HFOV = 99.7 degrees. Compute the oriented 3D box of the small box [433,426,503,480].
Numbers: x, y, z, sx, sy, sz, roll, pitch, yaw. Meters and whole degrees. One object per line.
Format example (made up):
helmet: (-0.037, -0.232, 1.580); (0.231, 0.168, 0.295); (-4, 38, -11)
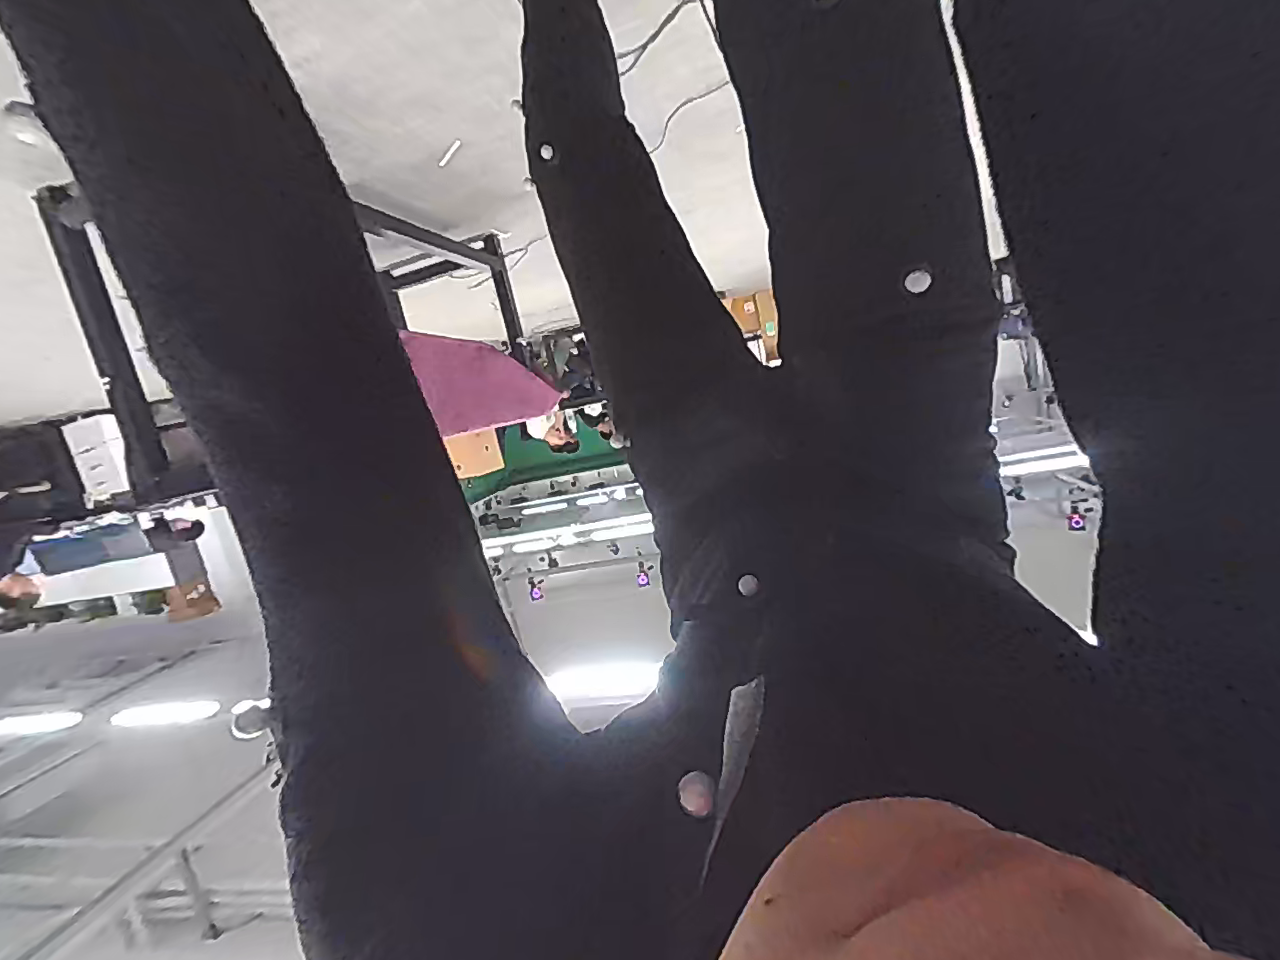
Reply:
small box: (-0.661, -0.109, 2.066); (0.179, 0.176, 0.168); (-9, -171, 23)
